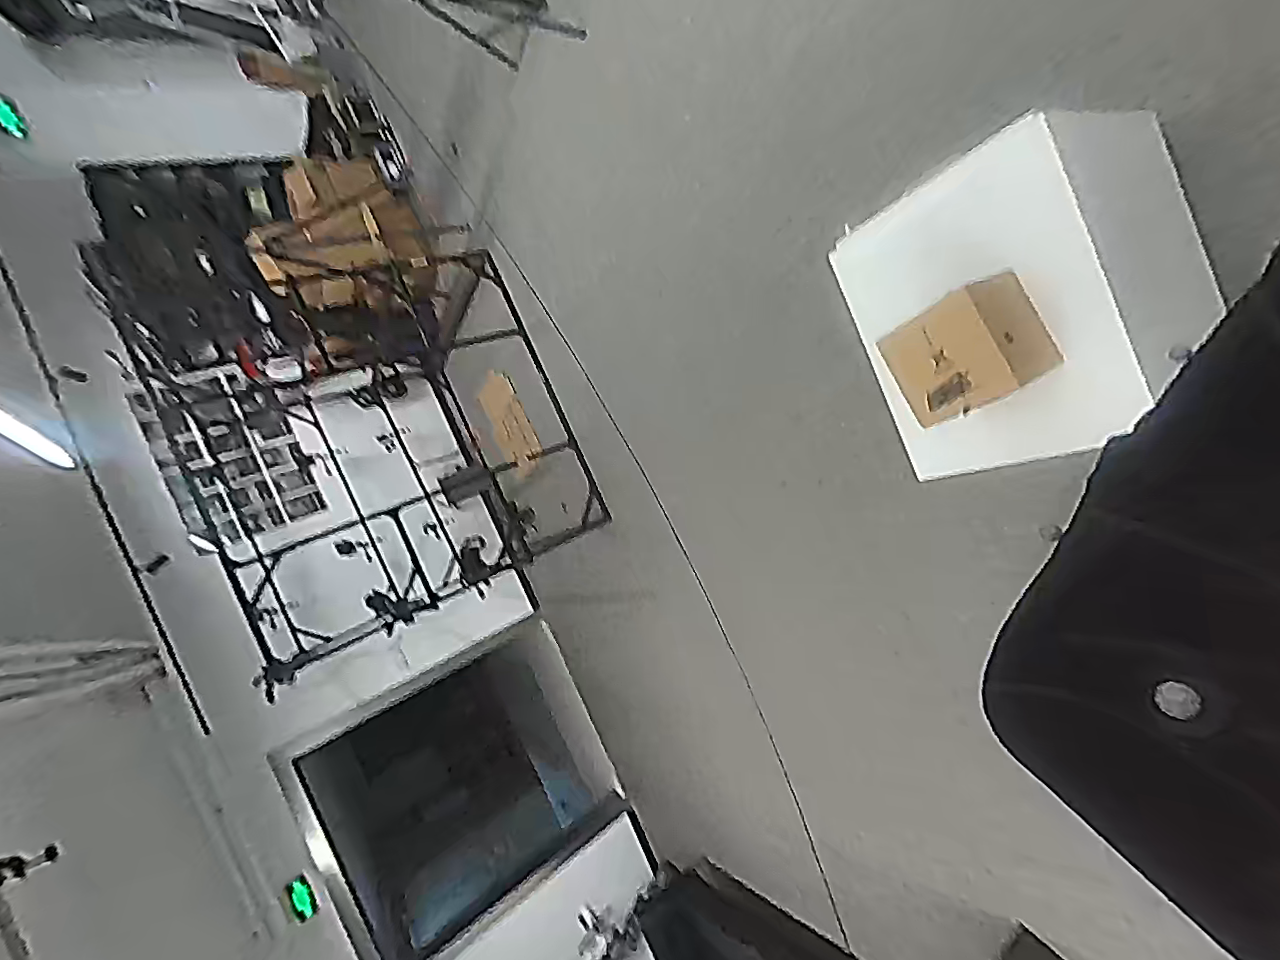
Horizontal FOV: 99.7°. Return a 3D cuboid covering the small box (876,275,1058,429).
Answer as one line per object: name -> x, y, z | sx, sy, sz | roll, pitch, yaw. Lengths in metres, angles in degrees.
small box -> 0.540, -0.213, 0.893 | 0.179, 0.176, 0.168 | 64, 149, 5
